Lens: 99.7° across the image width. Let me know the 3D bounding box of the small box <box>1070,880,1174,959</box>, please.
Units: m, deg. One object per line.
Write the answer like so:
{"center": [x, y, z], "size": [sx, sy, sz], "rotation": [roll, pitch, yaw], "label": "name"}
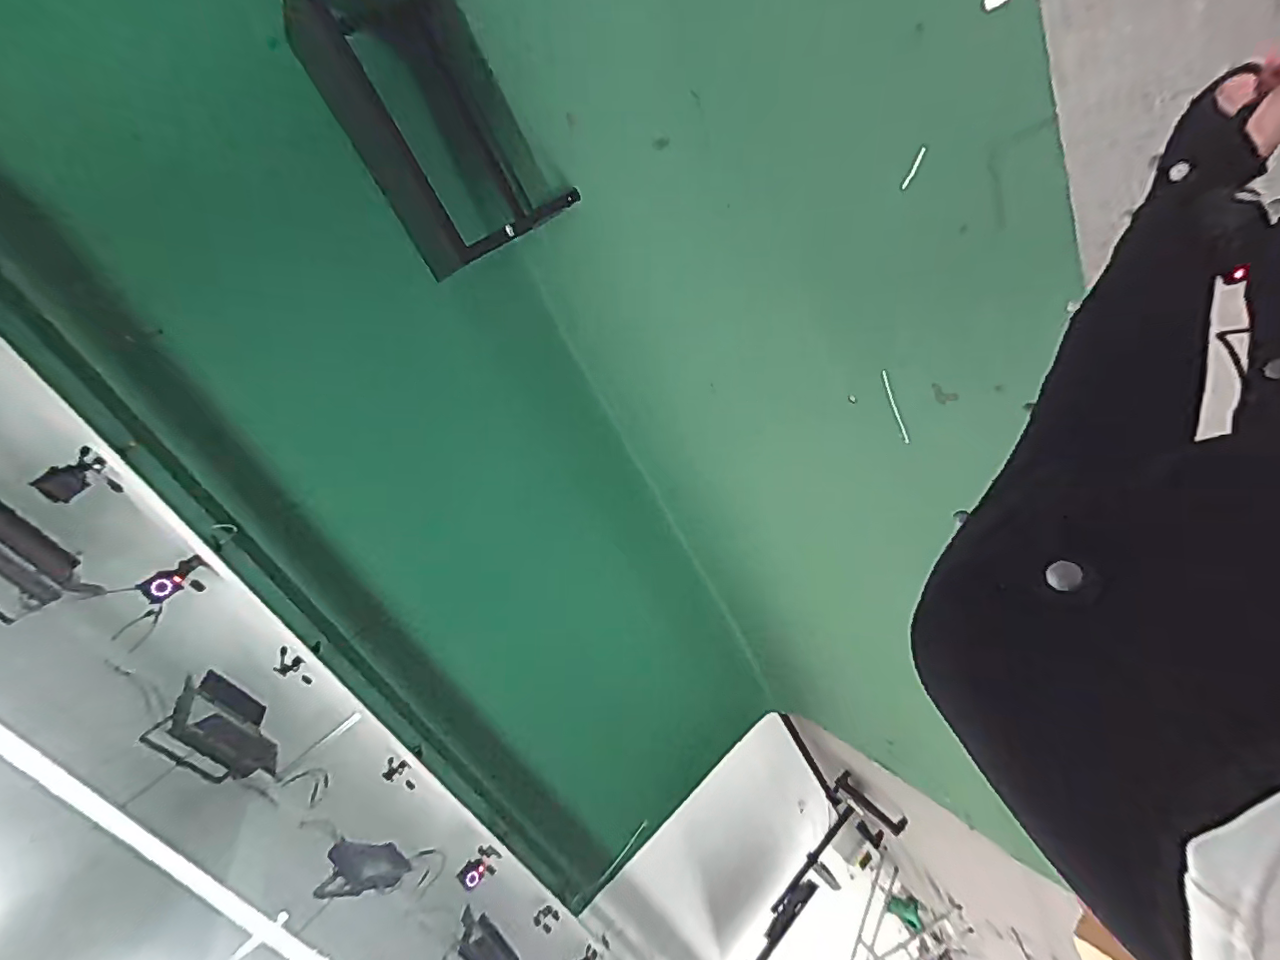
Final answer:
{"center": [1.317, 1.257, 1.474], "size": [0.168, 0.176, 0.179], "rotation": [14, 139, 58], "label": "small box"}
